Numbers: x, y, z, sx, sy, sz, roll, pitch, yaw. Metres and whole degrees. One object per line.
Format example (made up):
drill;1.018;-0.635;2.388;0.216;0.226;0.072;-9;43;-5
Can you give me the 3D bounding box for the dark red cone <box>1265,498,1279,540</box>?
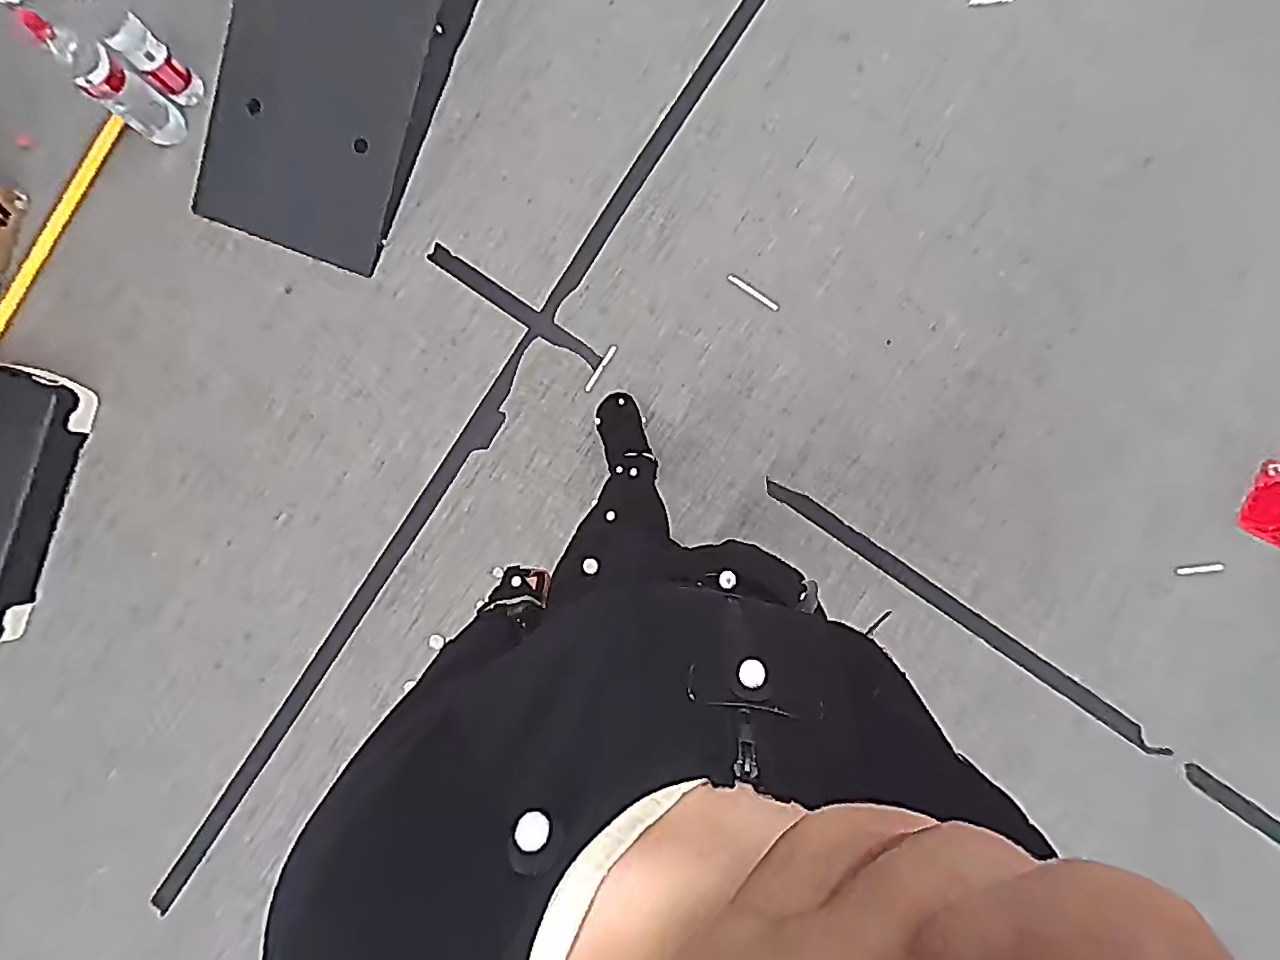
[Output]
dark red cone;1.669;0.081;1.175;0.202;0.394;0.201;26;90;0
